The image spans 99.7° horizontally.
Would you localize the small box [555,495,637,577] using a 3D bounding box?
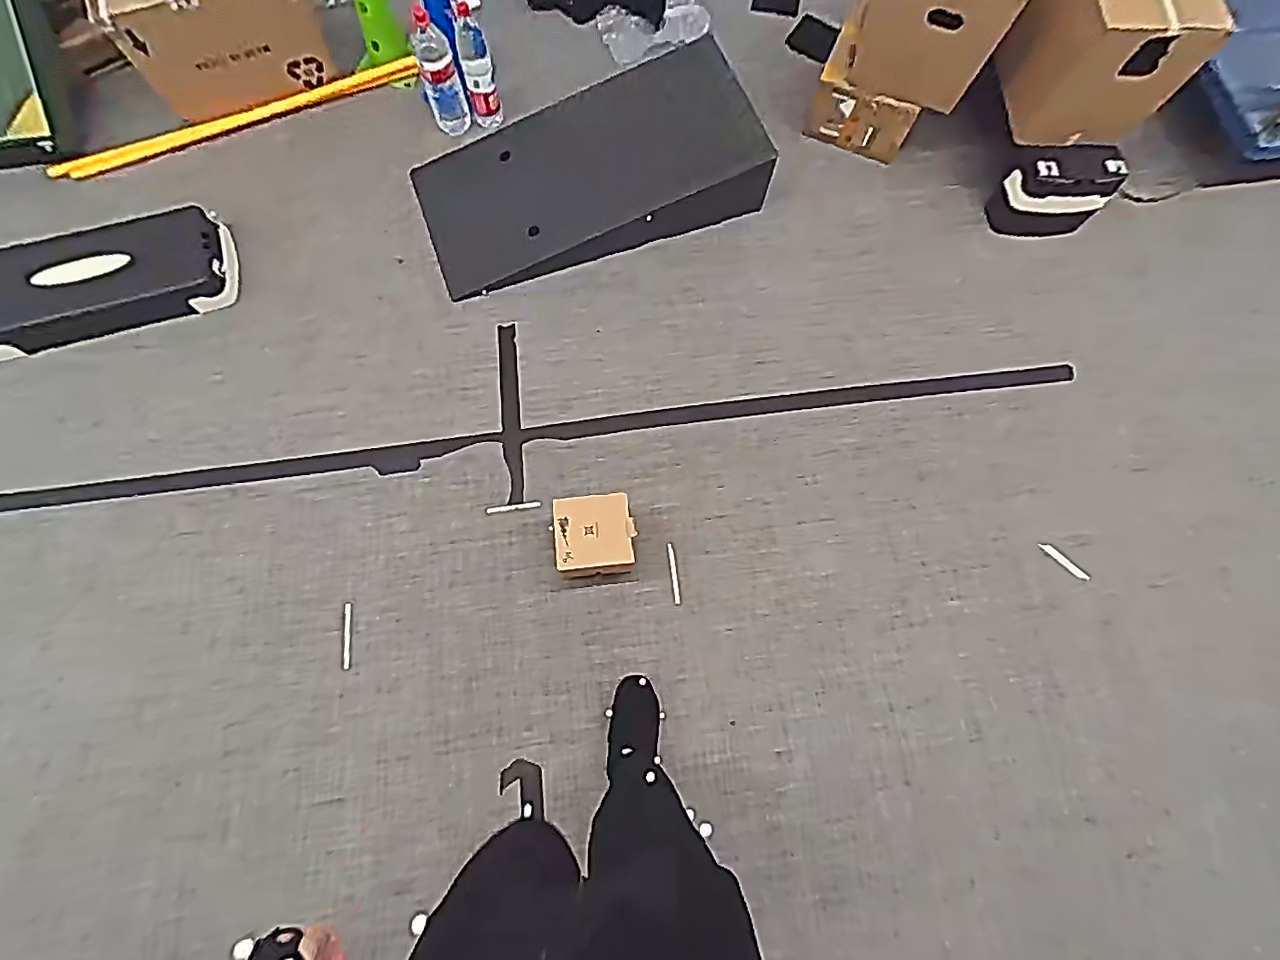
[{"bbox_3d":[-0.105,0.137,1.282,0.179,0.176,0.168,-4,74,-4],"label":"small box"}]
